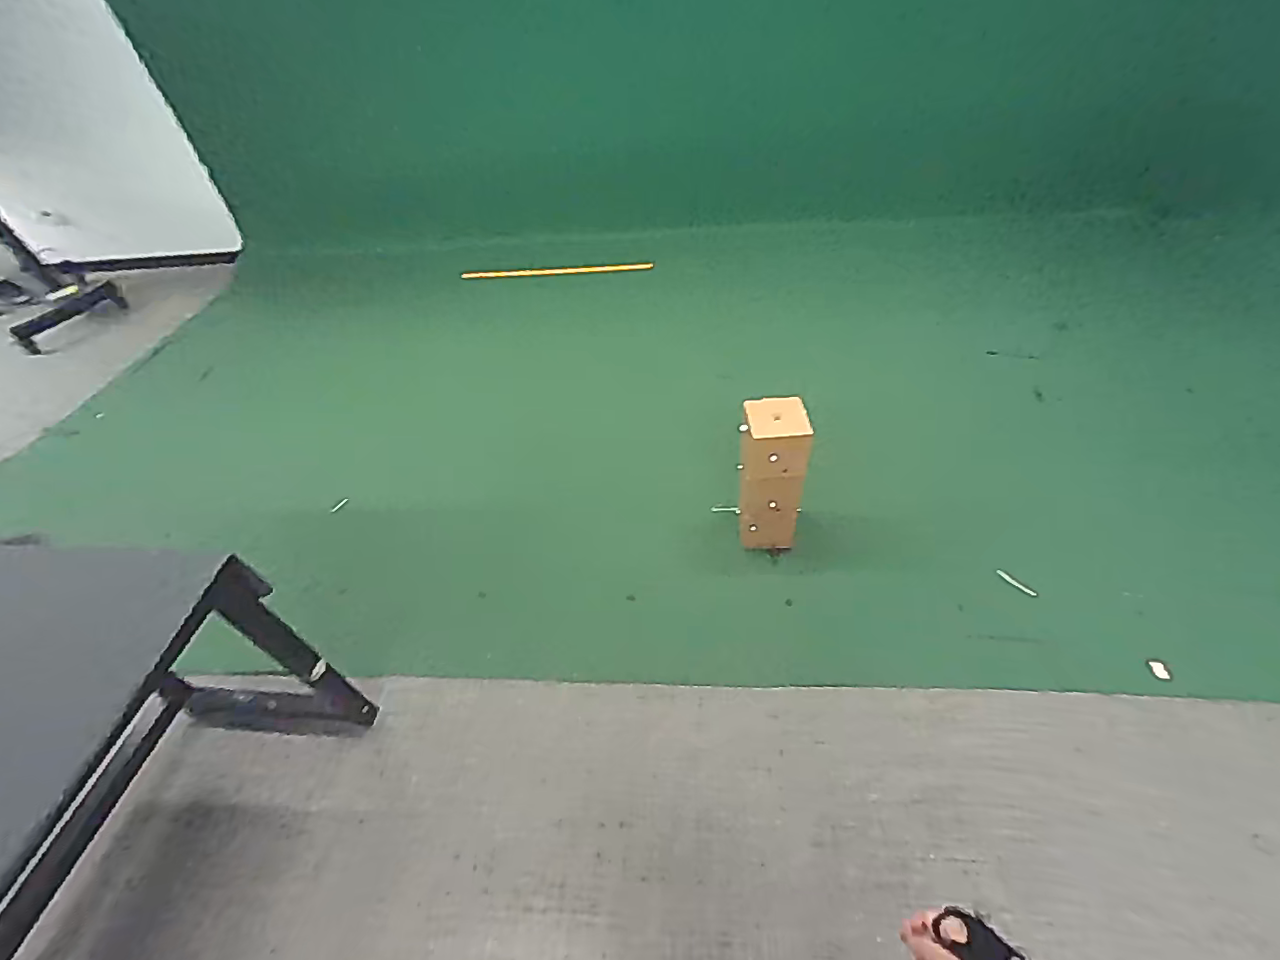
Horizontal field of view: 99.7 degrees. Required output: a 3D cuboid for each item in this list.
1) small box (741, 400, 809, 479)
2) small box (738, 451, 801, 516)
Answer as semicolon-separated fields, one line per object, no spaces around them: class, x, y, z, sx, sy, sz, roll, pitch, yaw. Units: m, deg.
small box;0.395;-0.115;1.610;0.168;0.176;0.179;-4;44;2
small box;0.407;-0.004;1.727;0.168;0.176;0.179;-3;45;4
